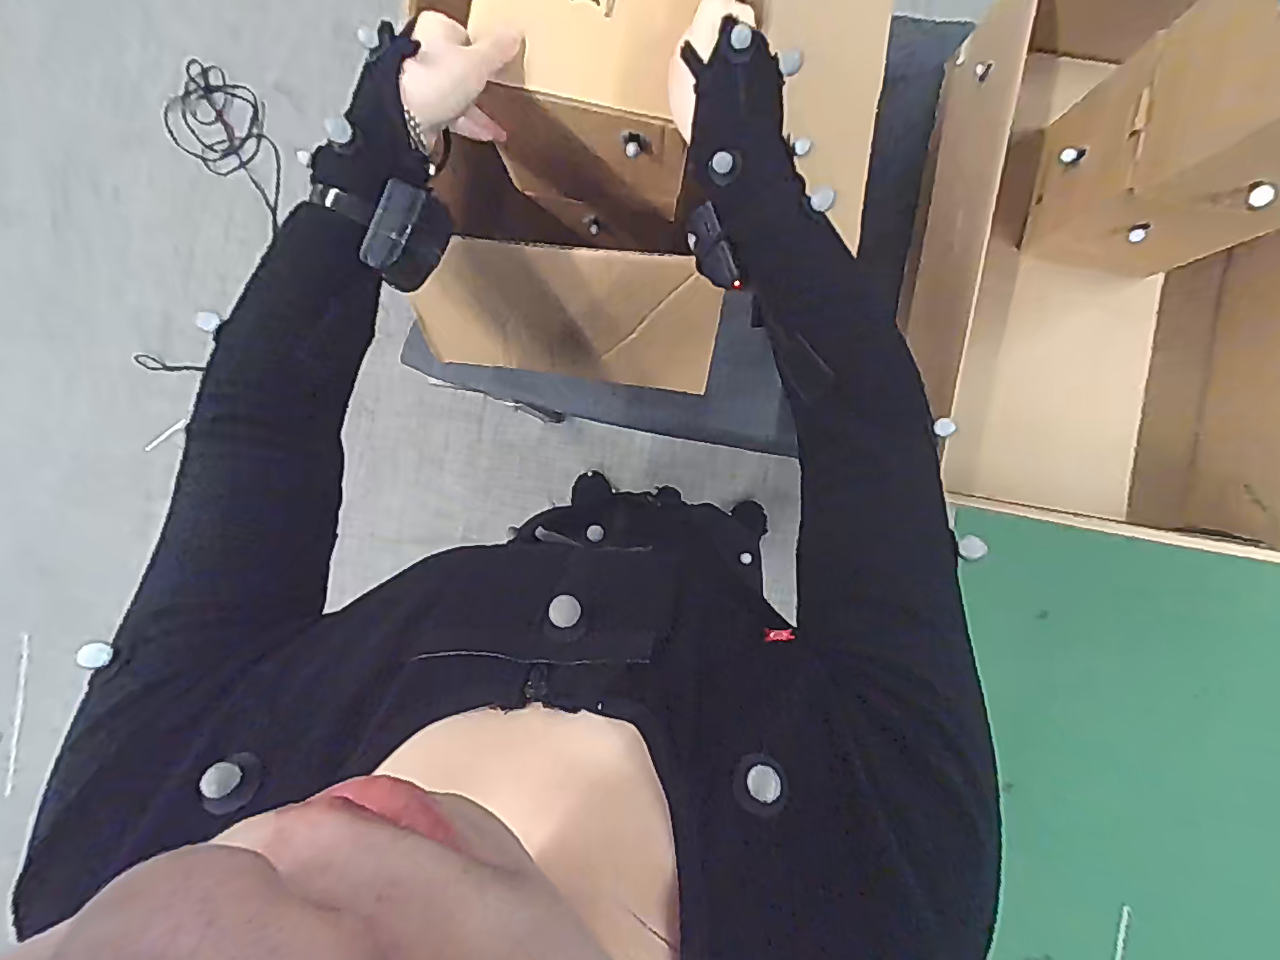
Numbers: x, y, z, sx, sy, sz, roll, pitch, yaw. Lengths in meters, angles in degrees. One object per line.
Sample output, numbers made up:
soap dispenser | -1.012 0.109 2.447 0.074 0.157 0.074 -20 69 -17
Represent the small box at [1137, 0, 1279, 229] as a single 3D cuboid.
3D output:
small box | 0.588 -0.349 0.463 0.168 0.176 0.179 11 93 1
